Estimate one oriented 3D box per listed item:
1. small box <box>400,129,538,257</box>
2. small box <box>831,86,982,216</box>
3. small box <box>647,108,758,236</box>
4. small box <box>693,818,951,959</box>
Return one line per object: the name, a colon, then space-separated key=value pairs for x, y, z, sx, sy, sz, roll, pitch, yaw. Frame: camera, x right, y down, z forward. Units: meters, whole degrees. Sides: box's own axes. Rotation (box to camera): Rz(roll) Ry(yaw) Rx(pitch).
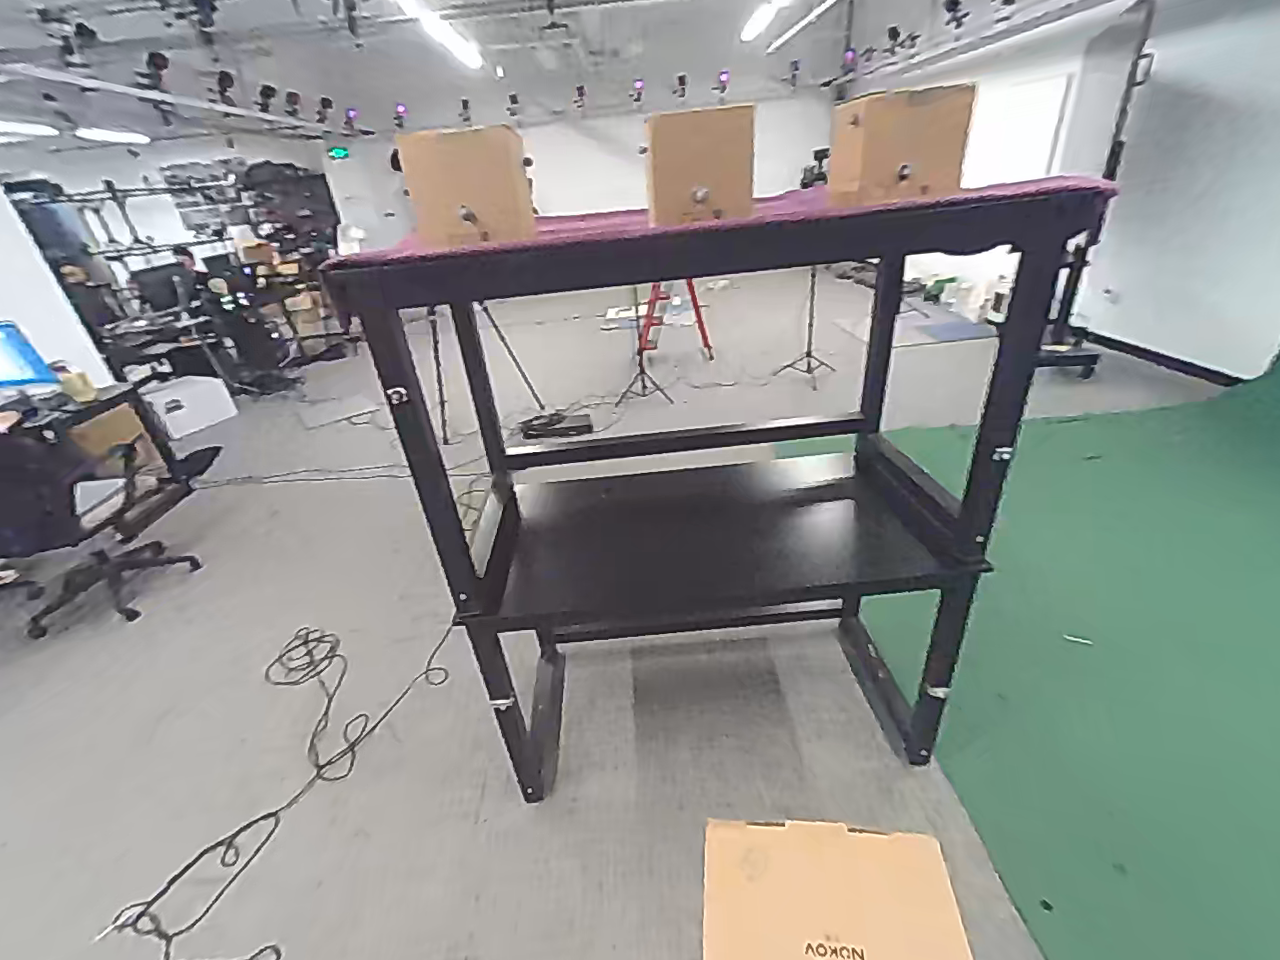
small box: x=-0.271 y=-0.474 z=0.905 sx=0.168 sy=0.176 sz=0.179 roll=-6 pitch=29 yaw=0
small box: x=0.437 y=-0.553 z=0.922 sx=0.168 sy=0.176 sz=0.179 roll=-5 pitch=31 yaw=2
small box: x=0.100 y=-0.518 z=0.919 sx=0.168 sy=0.176 sz=0.179 roll=-6 pitch=31 yaw=1
small box: x=0.124 y=0.379 z=0.390 sx=0.168 sy=0.176 sz=0.179 roll=-2 pitch=38 yaw=10
